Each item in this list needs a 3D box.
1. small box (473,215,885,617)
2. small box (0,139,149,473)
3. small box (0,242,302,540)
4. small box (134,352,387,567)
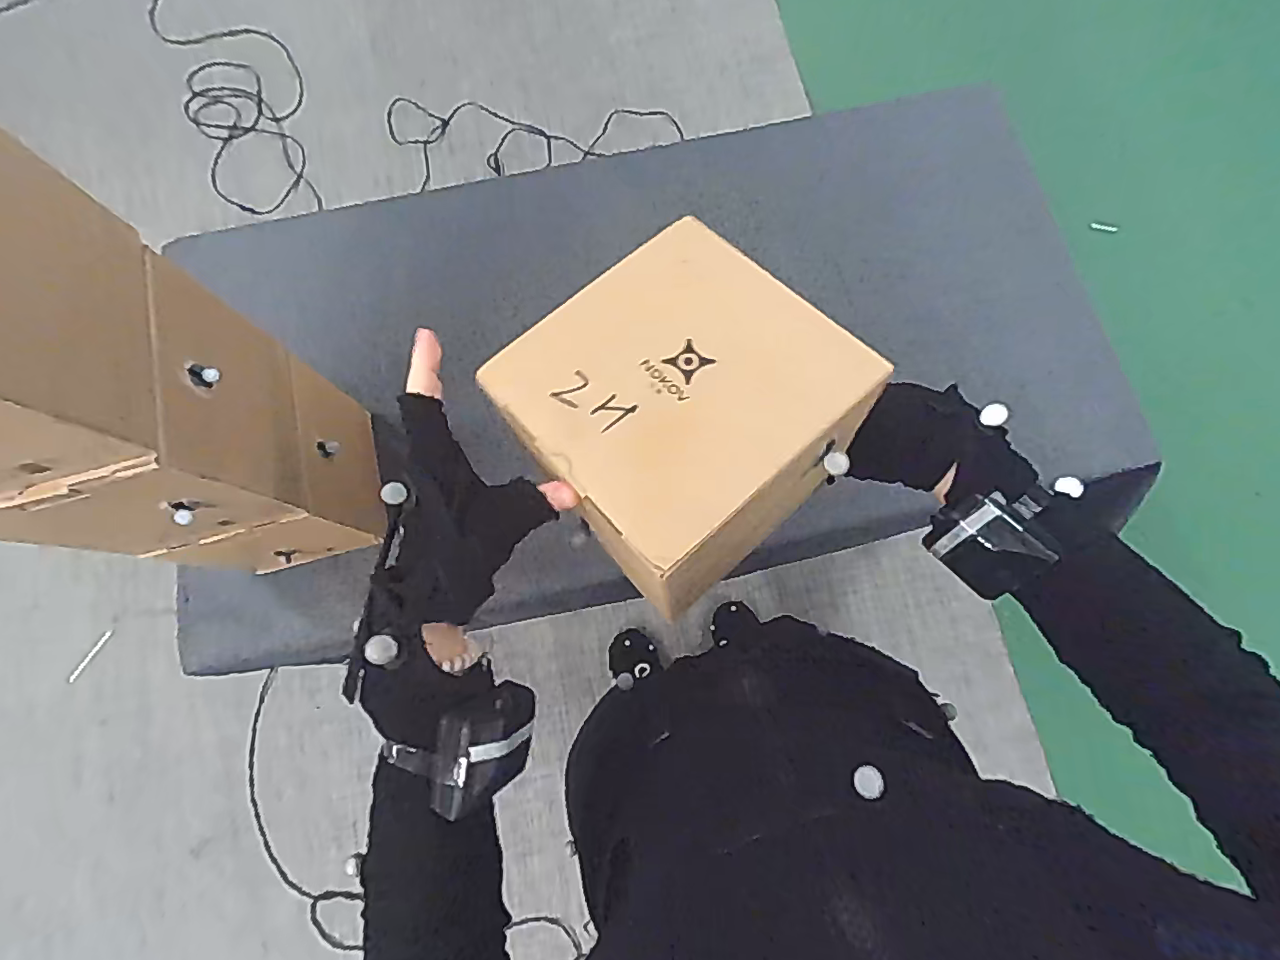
[{"bbox_3d":[0.025,-0.032,0.375,0.179,0.176,0.168,-42,68,-12],"label":"small box"},{"bbox_3d":[-0.415,-0.100,0.288,0.168,0.176,0.179,-15,76,-4],"label":"small box"},{"bbox_3d":[-0.410,-0.054,0.446,0.168,0.176,0.179,-14,76,-3],"label":"small box"},{"bbox_3d":[-0.409,-0.012,0.603,0.168,0.176,0.179,-15,77,-3],"label":"small box"}]
